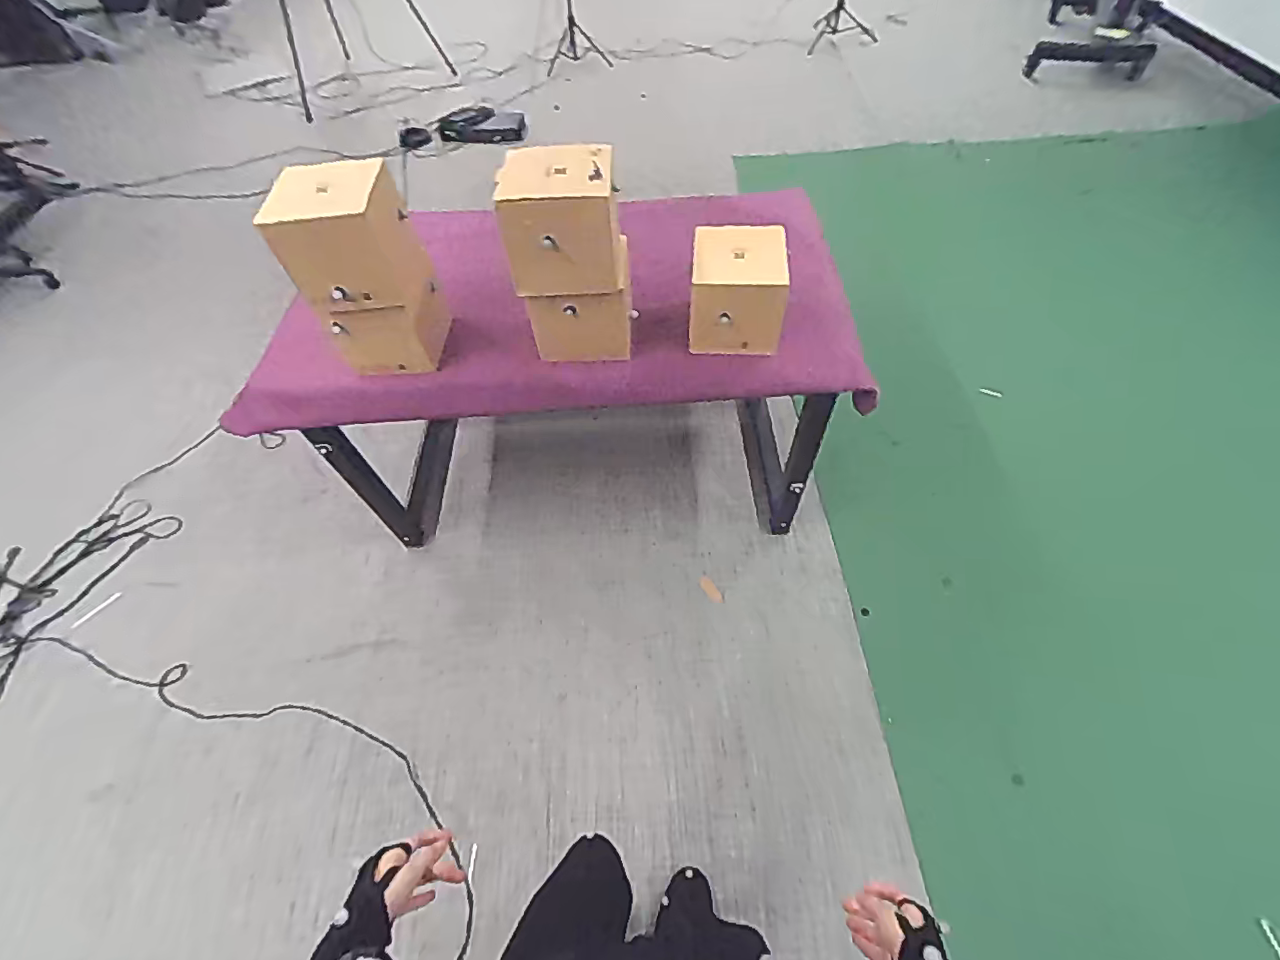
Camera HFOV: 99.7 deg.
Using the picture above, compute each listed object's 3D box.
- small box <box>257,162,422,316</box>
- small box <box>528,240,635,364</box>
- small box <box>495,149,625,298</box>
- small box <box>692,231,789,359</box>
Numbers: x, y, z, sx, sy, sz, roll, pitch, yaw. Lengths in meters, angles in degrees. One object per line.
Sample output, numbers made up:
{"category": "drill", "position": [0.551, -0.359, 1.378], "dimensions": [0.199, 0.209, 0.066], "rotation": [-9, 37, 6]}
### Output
{"category": "small box", "position": [-0.483, -0.400, 0.904], "dimensions": [0.168, 0.176, 0.179], "rotation": [-6, 55, -1]}
{"category": "small box", "position": [-0.105, -0.338, 1.040], "dimensions": [0.179, 0.176, 0.168], "rotation": [0, 55, 3]}
{"category": "small box", "position": [-0.122, -0.420, 0.898], "dimensions": [0.179, 0.176, 0.168], "rotation": [-2, 55, 3]}
{"category": "small box", "position": [0.186, -0.348, 1.032], "dimensions": [0.168, 0.176, 0.179], "rotation": [2, 56, 6]}
